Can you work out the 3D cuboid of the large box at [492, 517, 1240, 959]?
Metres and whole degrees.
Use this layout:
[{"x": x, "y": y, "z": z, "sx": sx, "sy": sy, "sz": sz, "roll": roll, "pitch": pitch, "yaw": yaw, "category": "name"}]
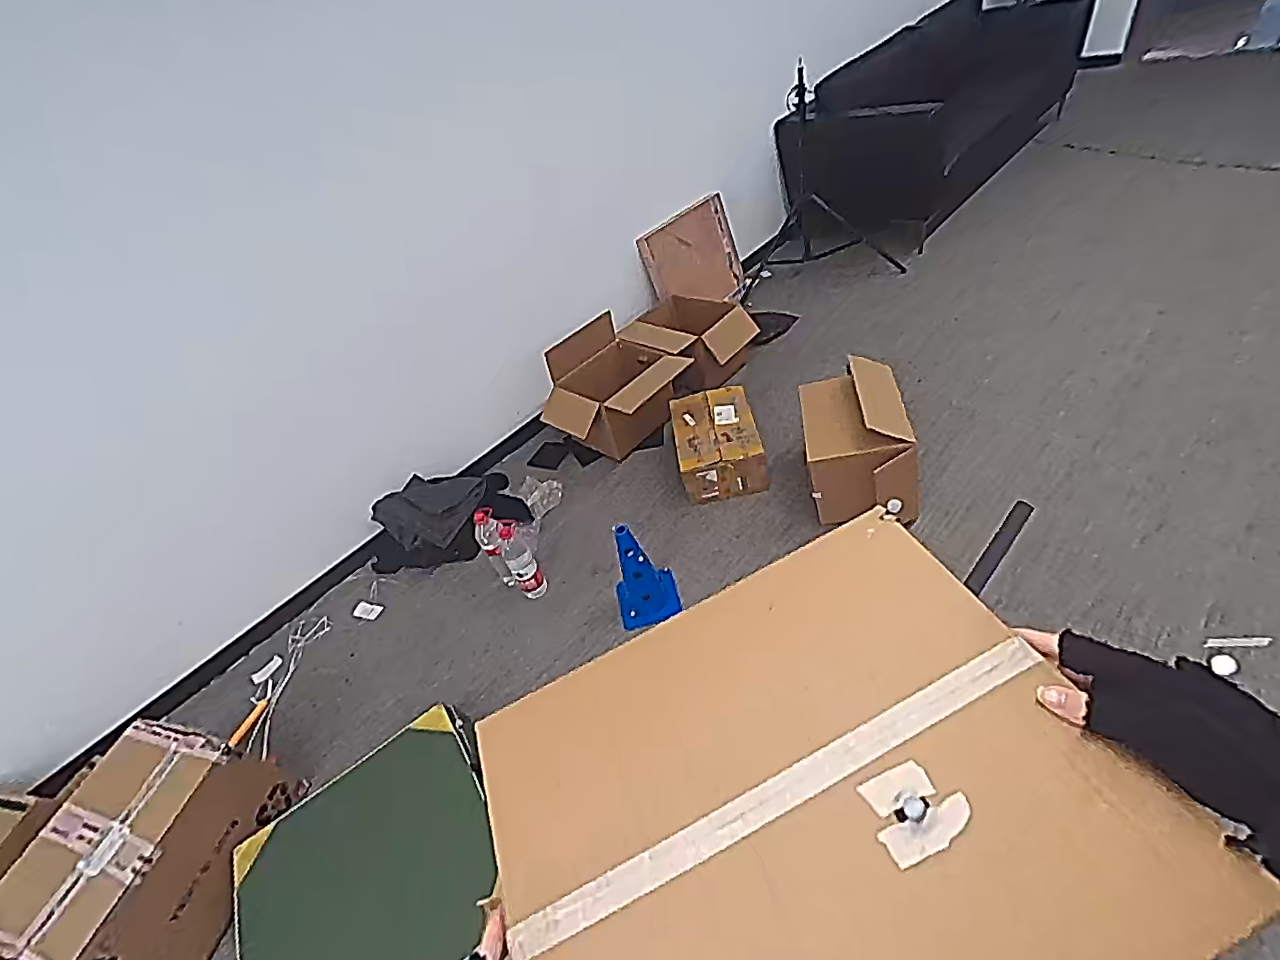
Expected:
[{"x": 0.140, "y": 0.313, "z": 0.489, "sx": 0.408, "sy": 0.320, "sz": 0.320, "roll": -27, "pitch": 47, "yaw": -5, "category": "large box"}]
